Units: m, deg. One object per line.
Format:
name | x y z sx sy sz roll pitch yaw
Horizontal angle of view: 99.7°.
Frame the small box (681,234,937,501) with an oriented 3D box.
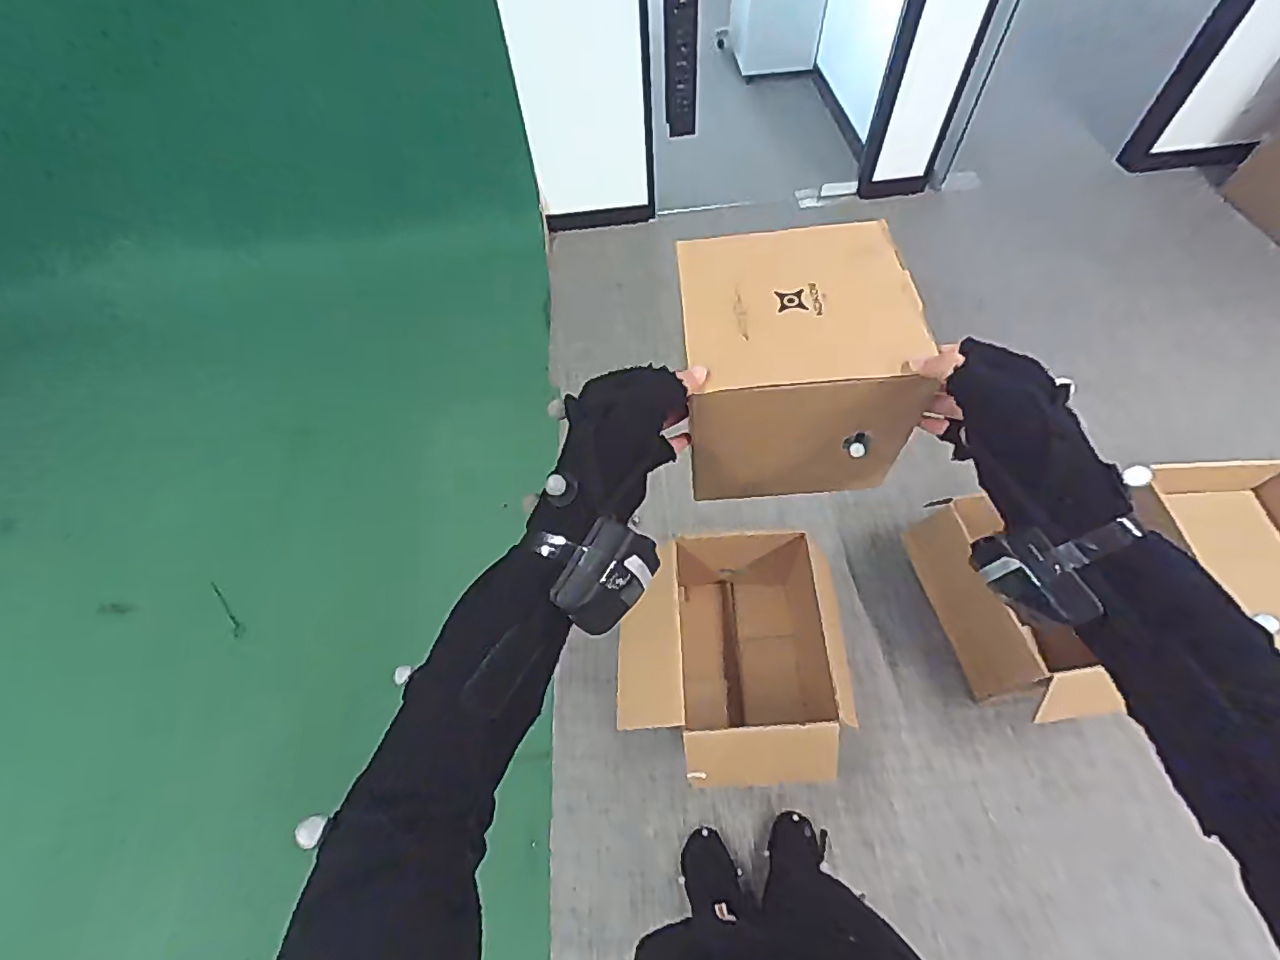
small box | 0.129 -0.093 0.493 0.179 0.176 0.168 -4 58 4
